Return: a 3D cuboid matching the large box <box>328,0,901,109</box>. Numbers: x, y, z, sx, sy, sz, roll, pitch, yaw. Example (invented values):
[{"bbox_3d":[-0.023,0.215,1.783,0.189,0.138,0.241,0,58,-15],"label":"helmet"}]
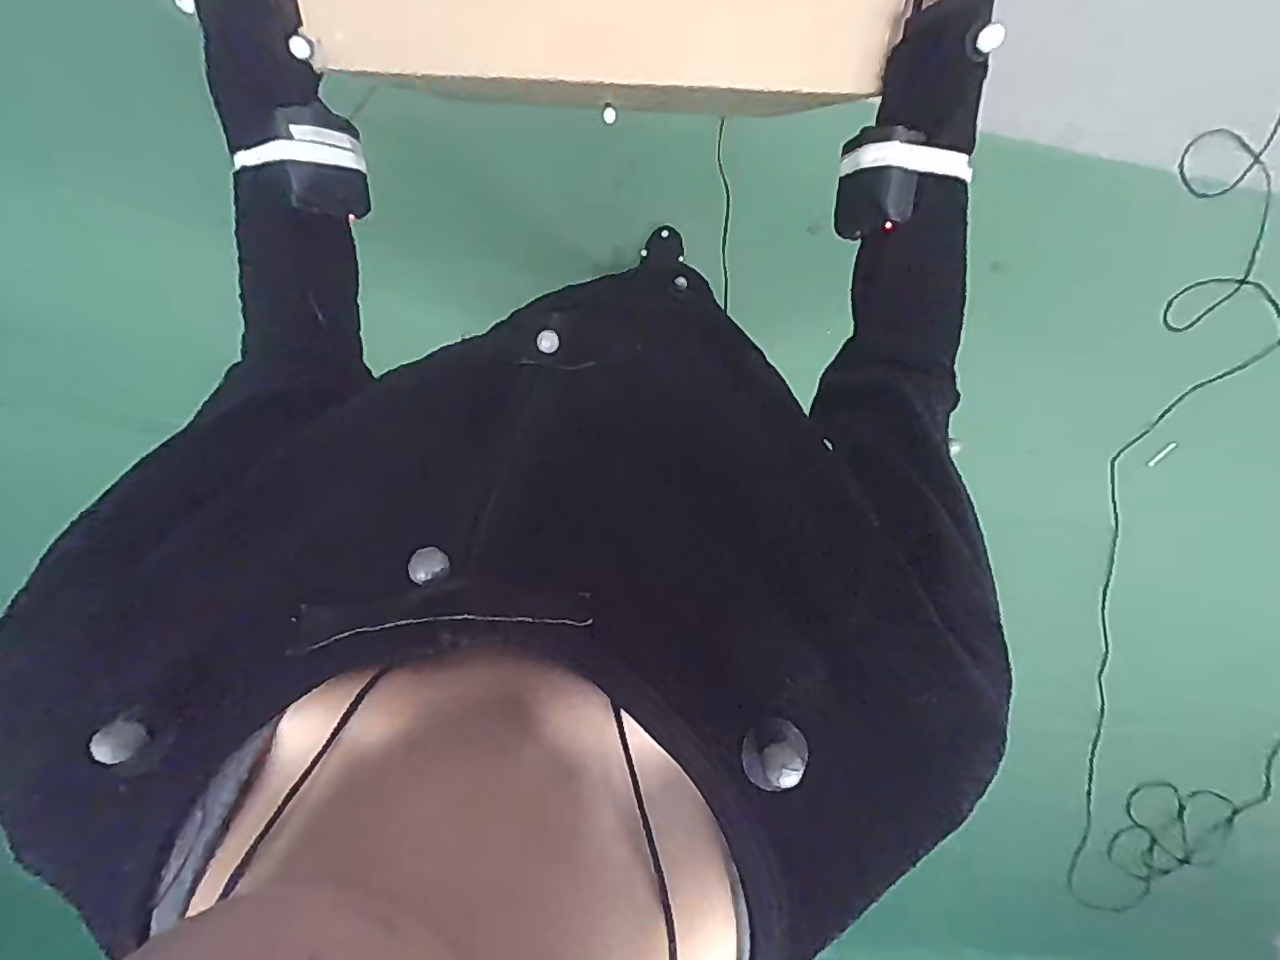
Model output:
[{"bbox_3d":[-0.015,-0.499,0.444,0.408,0.320,0.320,1,121,-2],"label":"large box"}]
